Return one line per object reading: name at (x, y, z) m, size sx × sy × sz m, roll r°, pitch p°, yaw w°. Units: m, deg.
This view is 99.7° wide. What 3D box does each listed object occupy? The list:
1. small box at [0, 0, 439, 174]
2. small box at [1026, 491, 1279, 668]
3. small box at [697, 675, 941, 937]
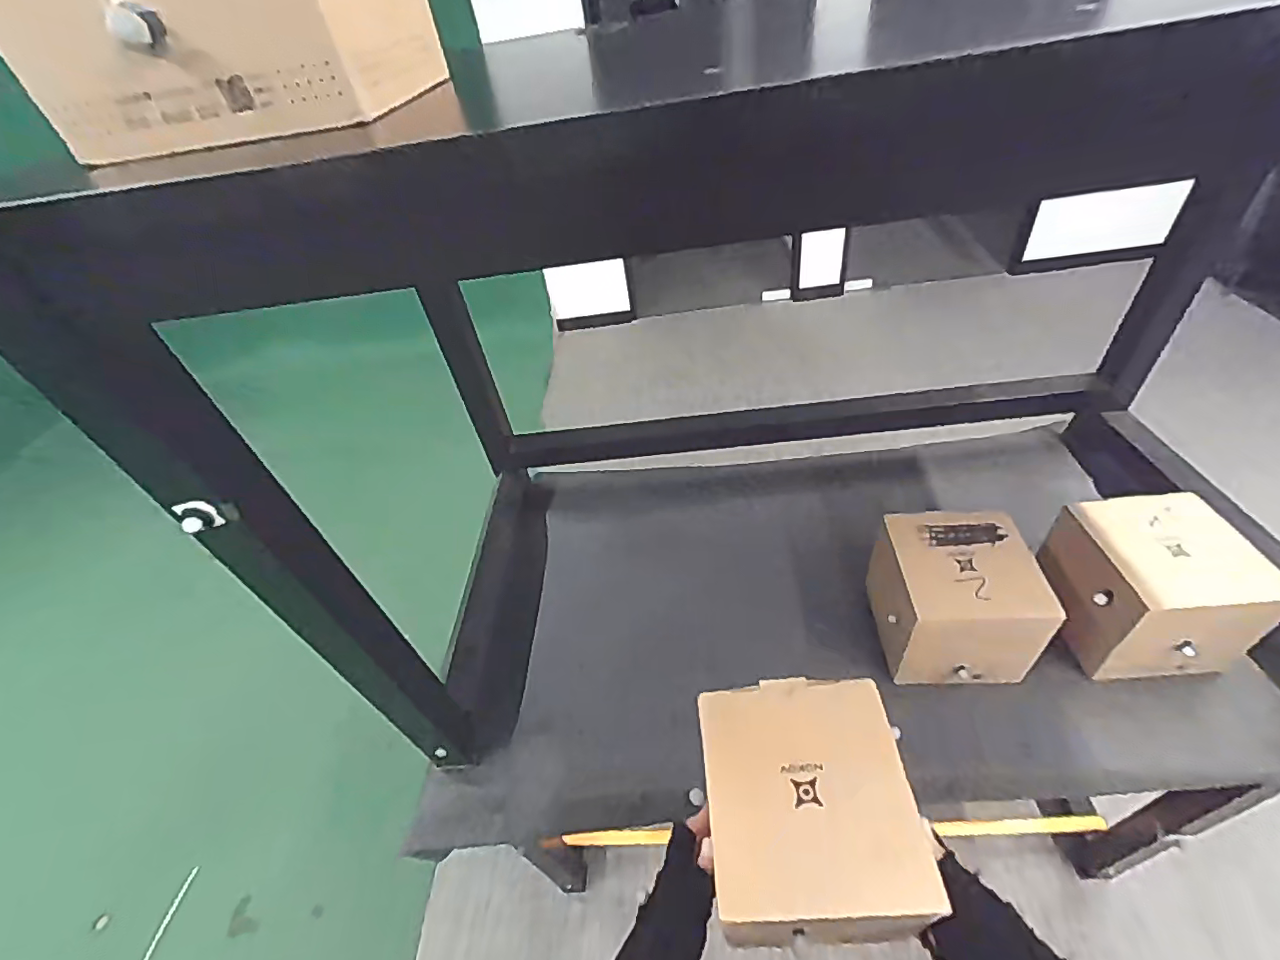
small box at (-0.233, -0.289, 0.300) m, size 0.168 × 0.176 × 0.179 m, roll -6°, pitch 44°, yaw 5°
small box at (0.673, 0.140, 0.732) m, size 0.168 × 0.176 × 0.179 m, roll -6°, pitch 42°, yaw 5°
small box at (0.149, 0.308, 0.506) m, size 0.168 × 0.176 × 0.179 m, roll -8°, pitch 43°, yaw 6°
